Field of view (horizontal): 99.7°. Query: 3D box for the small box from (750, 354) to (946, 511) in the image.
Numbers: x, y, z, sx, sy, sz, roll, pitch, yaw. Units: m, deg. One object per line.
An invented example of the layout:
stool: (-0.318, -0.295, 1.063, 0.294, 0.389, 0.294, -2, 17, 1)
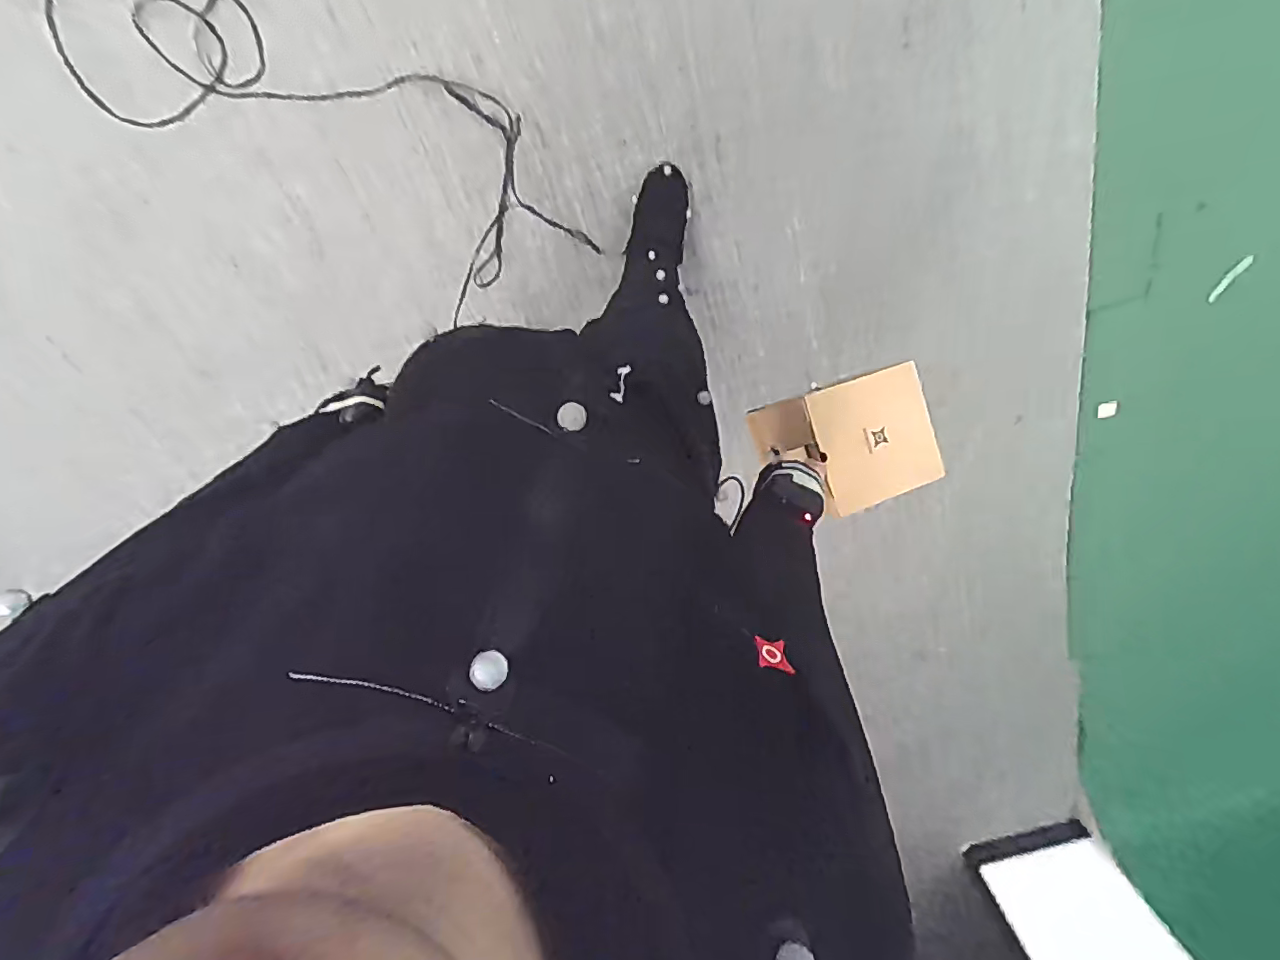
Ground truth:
small box: (0.288, -0.067, 0.775, 0.179, 0.176, 0.168, -21, 96, -13)
